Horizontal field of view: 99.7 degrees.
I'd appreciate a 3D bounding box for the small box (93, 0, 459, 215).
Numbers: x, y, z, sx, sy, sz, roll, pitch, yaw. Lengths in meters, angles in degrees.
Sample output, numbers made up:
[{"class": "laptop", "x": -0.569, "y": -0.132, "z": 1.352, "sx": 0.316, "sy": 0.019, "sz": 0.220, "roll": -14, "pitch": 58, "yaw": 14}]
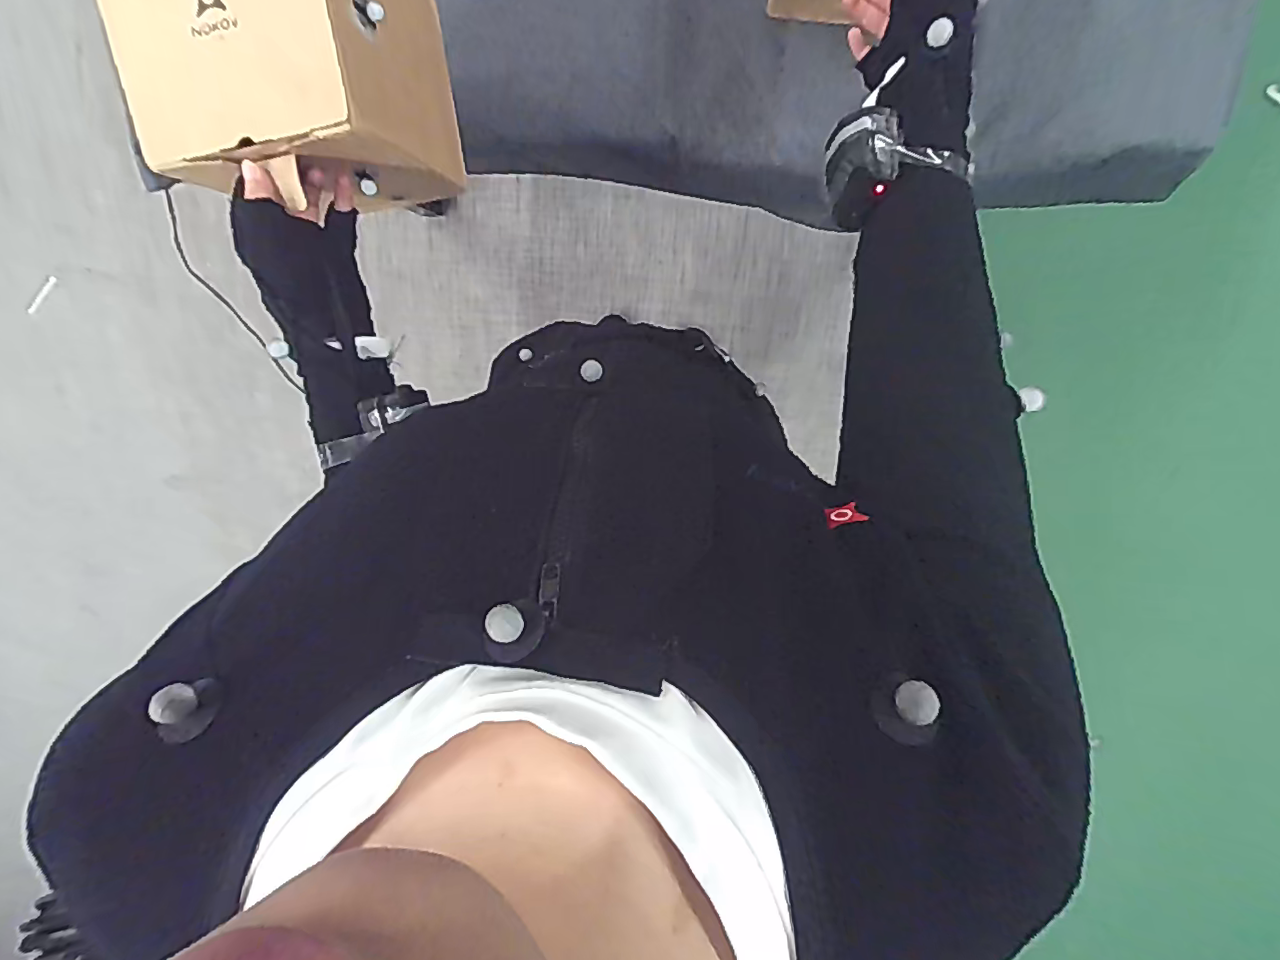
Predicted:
[{"class": "small box", "x": -0.262, "y": -0.322, "z": 0.421, "sx": 0.168, "sy": 0.176, "sz": 0.179, "roll": -5, "pitch": 102, "yaw": 10}]
